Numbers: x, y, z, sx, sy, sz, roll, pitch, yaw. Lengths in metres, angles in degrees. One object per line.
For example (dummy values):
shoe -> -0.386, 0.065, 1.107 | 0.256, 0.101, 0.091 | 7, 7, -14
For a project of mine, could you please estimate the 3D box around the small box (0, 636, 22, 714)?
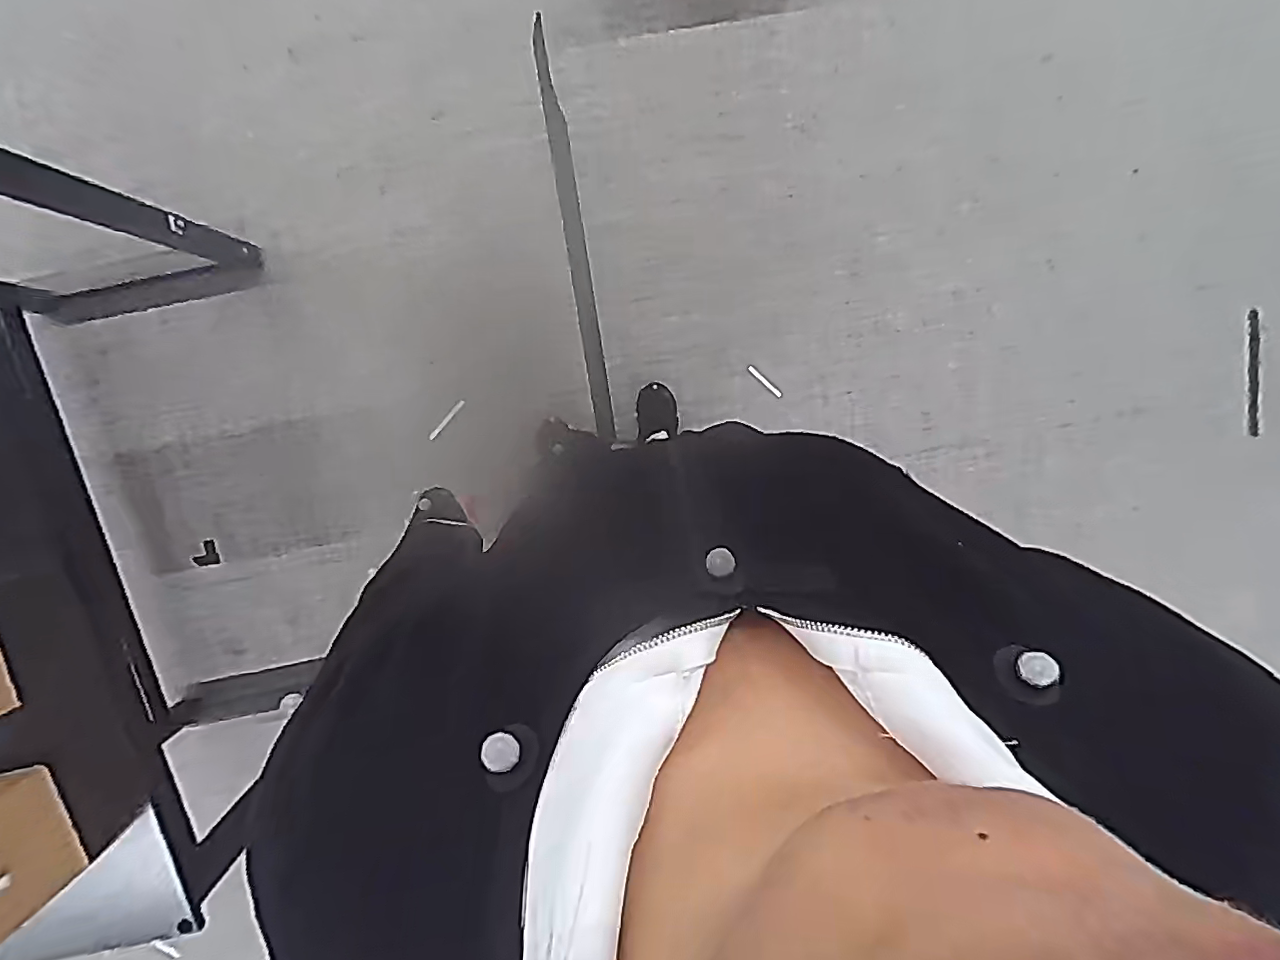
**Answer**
small box -> -0.957, 0.256, 0.670 | 0.168, 0.176, 0.179 | -9, 101, 0

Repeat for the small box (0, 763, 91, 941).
small box -> -0.907, 0.521, 0.719 | 0.168, 0.176, 0.179 | -13, 101, 0
